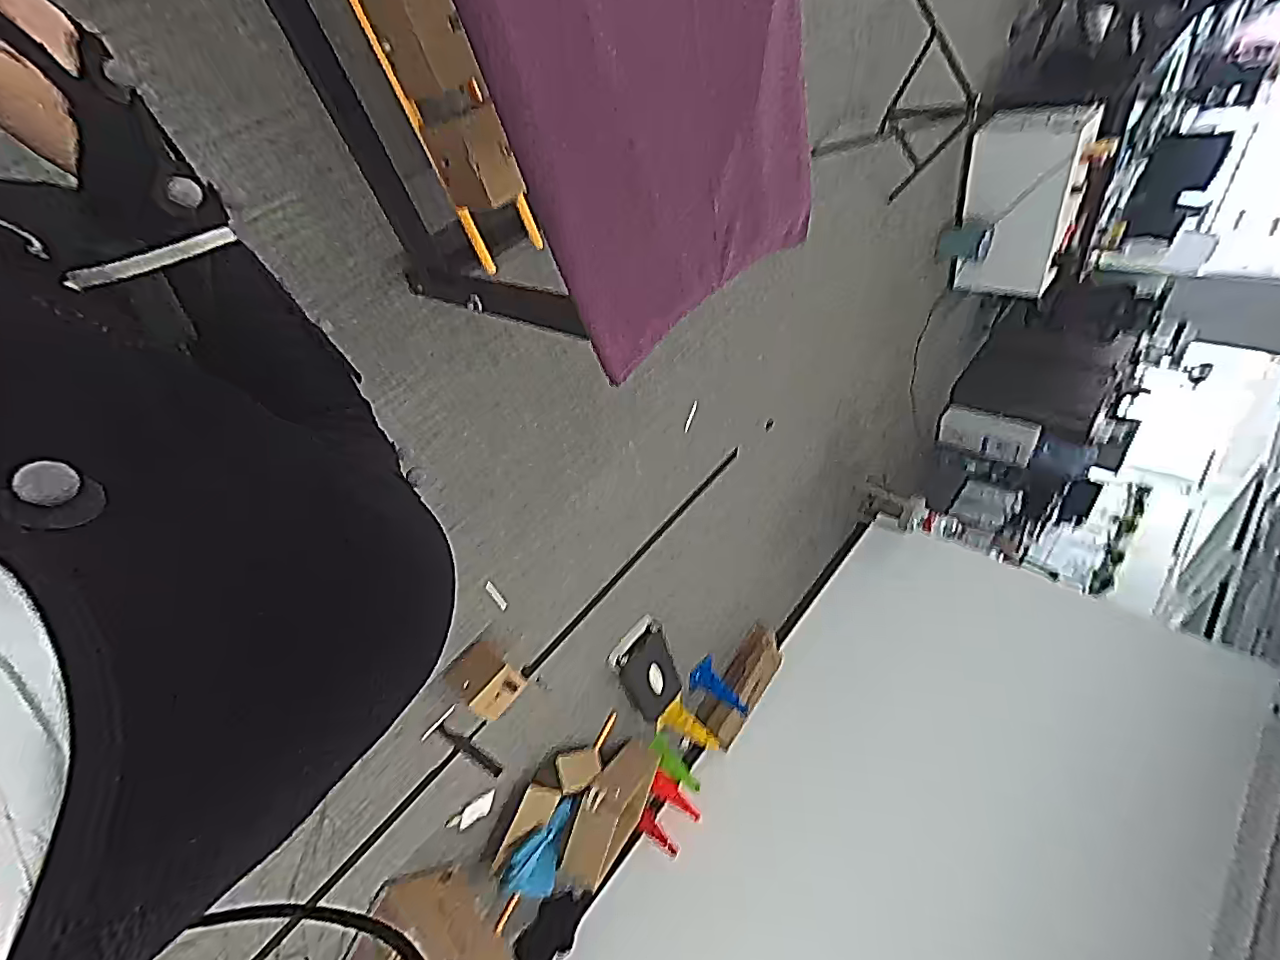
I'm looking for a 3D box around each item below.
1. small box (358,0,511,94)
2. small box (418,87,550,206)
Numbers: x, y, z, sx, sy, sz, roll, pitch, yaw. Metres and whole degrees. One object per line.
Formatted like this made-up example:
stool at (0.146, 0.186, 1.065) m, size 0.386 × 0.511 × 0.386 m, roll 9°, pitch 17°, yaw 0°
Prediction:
small box at (-0.382, -0.849, 1.009) m, size 0.179 × 0.176 × 0.168 m, roll -43°, pitch 137°, yaw -22°
small box at (-0.330, -0.705, 1.147) m, size 0.179 × 0.176 × 0.168 m, roll -44°, pitch 137°, yaw -22°
